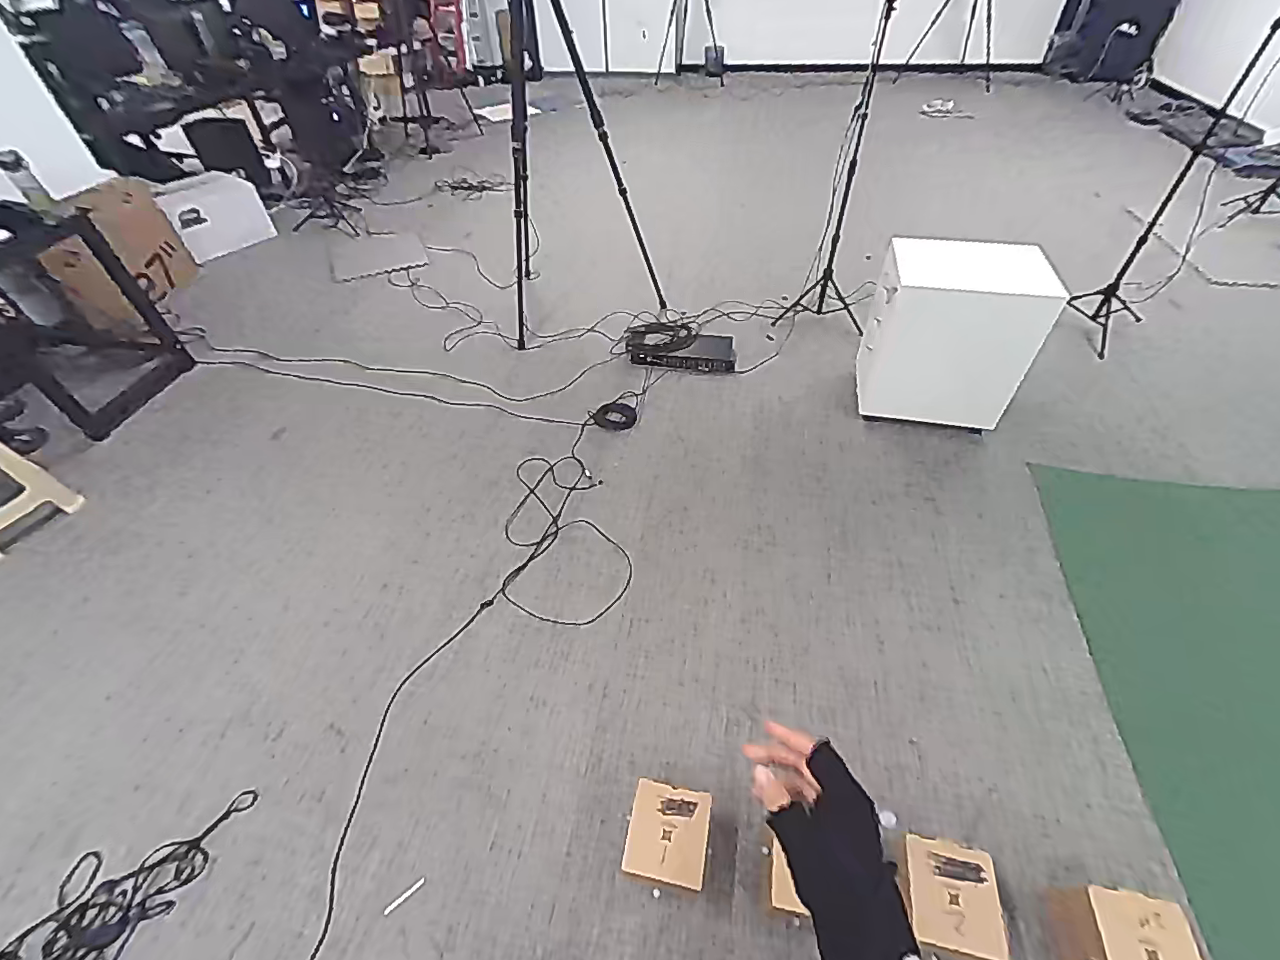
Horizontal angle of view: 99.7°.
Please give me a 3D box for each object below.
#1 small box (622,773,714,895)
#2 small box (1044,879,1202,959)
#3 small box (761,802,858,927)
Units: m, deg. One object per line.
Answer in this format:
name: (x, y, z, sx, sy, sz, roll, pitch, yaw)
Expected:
small box: (0.063, 0.776, 1.184, 0.168, 0.176, 0.179, 8, 49, 10)
small box: (0.925, 0.900, 1.036, 0.168, 0.176, 0.179, 8, 48, 8)
small box: (0.351, 0.813, 1.139, 0.168, 0.176, 0.179, 7, 46, 9)
